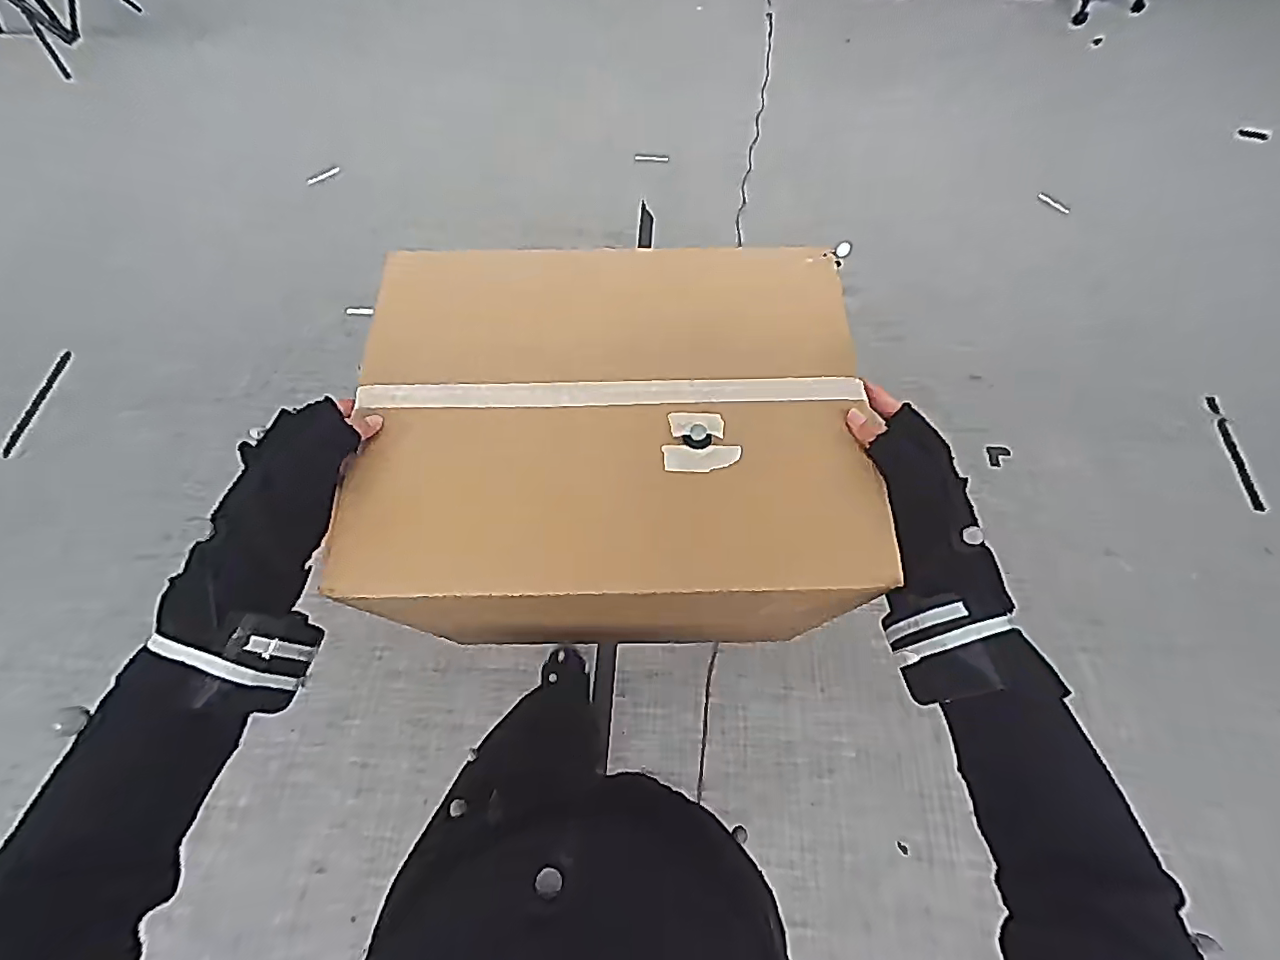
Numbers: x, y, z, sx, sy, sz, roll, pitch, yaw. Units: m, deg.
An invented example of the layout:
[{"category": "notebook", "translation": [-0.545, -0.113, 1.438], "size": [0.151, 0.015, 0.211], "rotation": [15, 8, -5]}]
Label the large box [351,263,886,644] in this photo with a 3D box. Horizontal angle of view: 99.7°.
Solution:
[{"category": "large box", "translation": [-0.020, -0.004, 0.591], "size": [0.408, 0.320, 0.320], "rotation": [-1, 67, -1]}]
